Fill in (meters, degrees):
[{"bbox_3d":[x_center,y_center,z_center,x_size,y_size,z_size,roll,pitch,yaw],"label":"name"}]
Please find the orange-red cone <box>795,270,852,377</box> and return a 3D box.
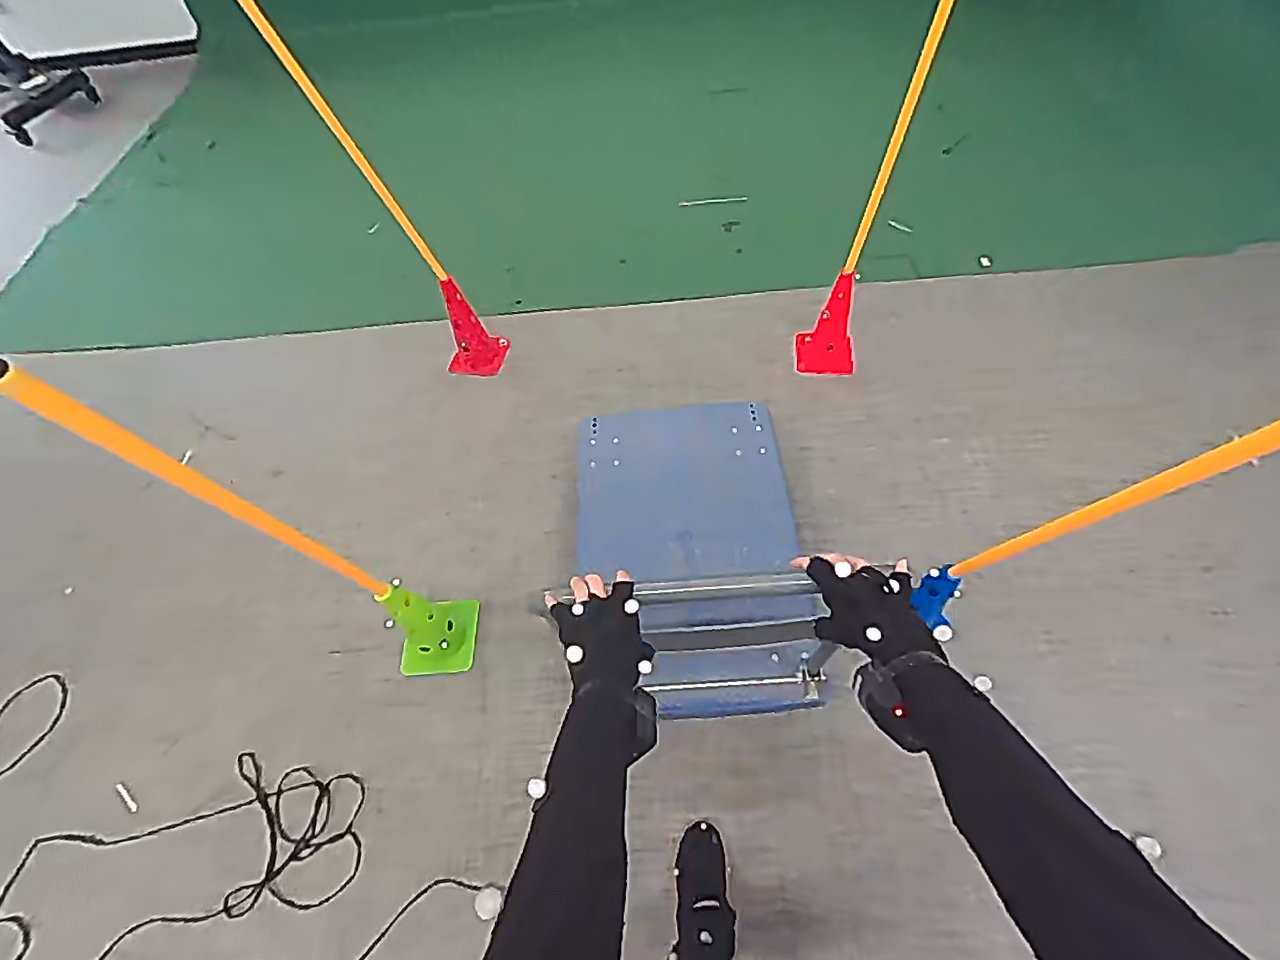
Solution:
[{"bbox_3d":[0.650,-0.541,1.815,0.198,0.360,0.199,5,59,9],"label":"orange-red cone"}]
